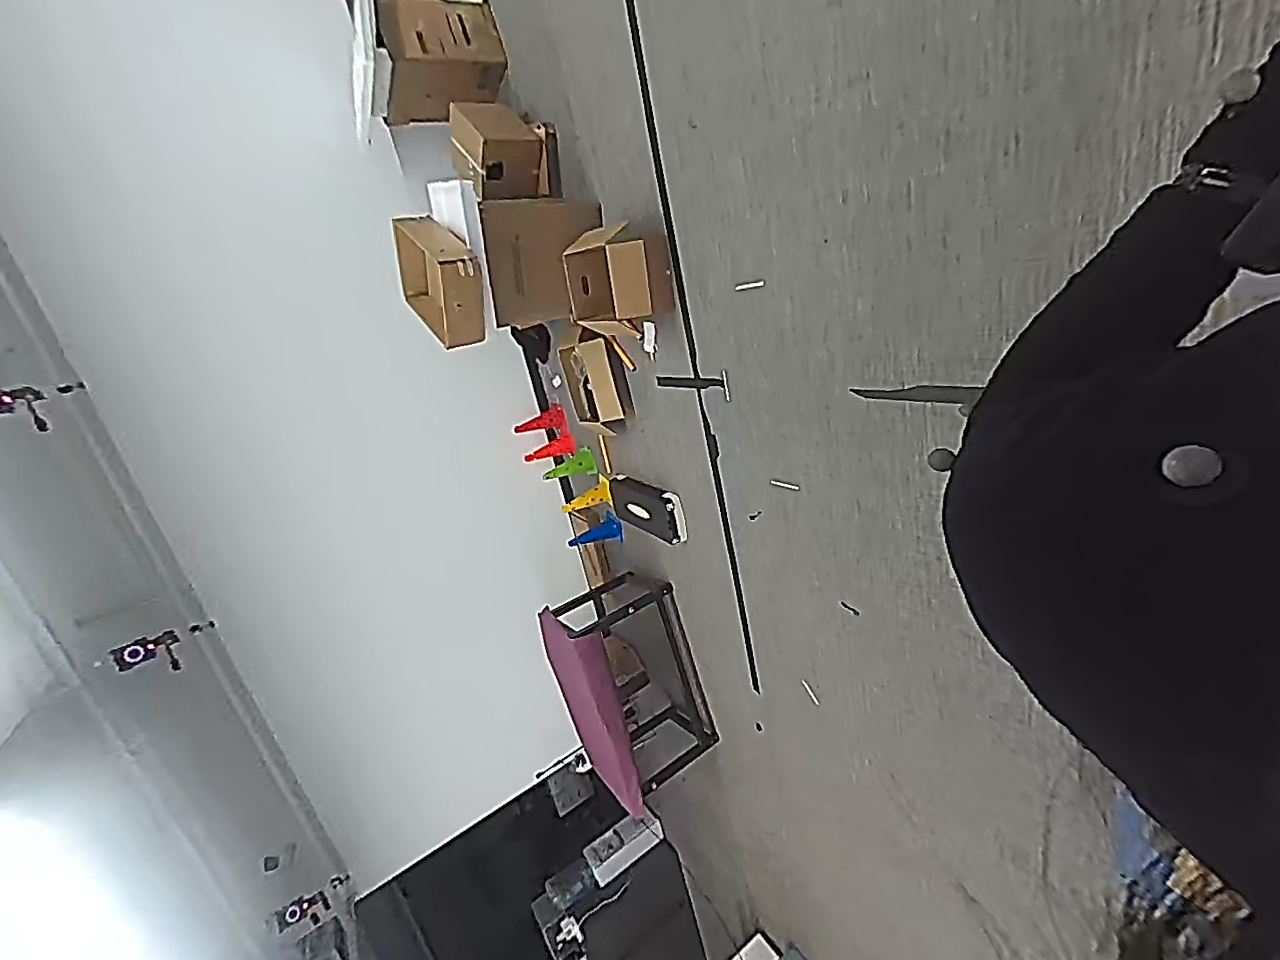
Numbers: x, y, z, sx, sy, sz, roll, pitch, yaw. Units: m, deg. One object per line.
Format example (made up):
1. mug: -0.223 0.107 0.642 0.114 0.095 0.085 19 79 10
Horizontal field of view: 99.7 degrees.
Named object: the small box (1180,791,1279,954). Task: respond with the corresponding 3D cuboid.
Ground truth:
1. small box: 1.225 0.775 1.074 0.168 0.176 0.179 20 127 54
